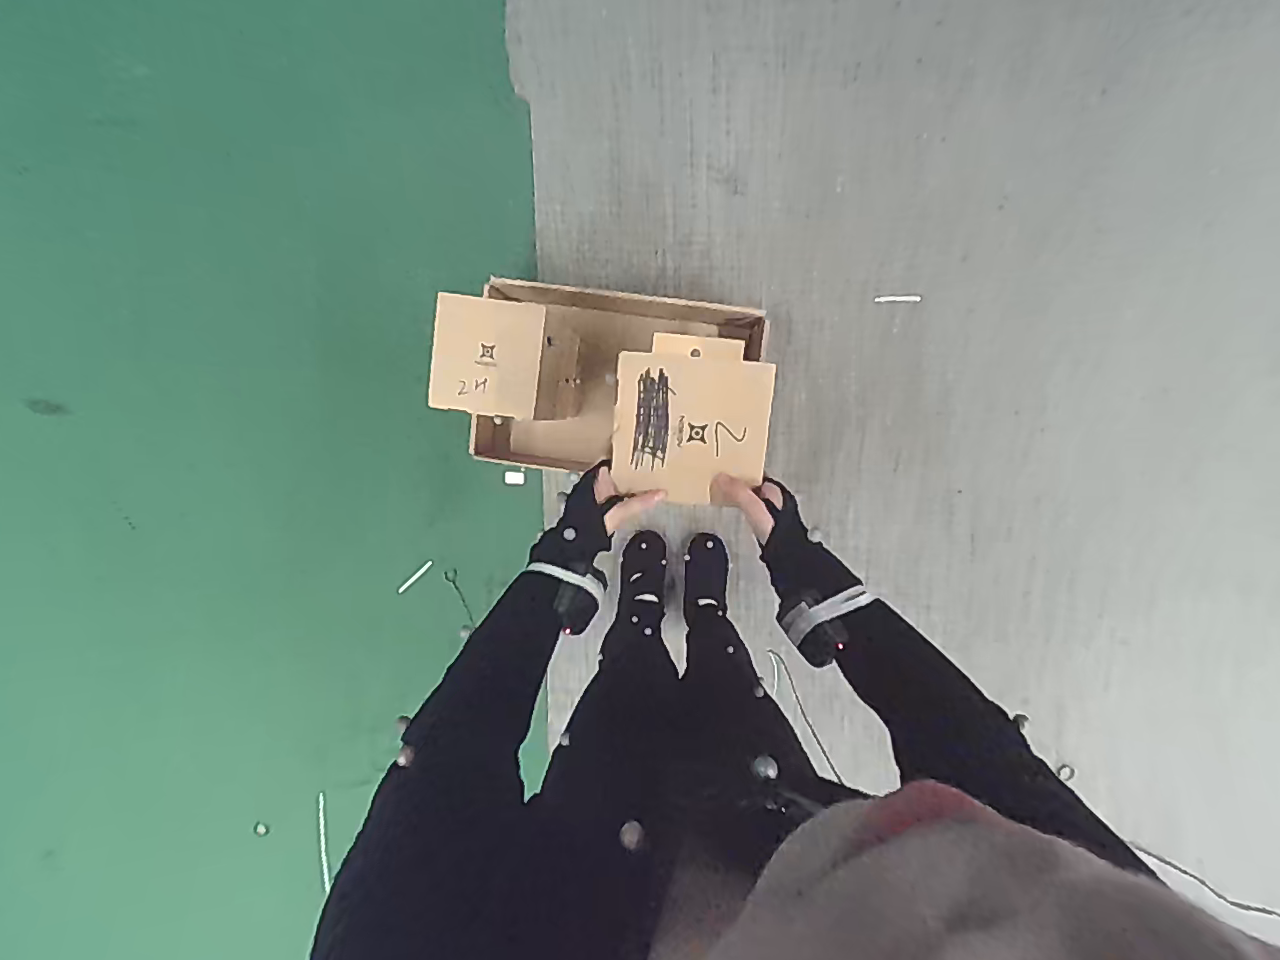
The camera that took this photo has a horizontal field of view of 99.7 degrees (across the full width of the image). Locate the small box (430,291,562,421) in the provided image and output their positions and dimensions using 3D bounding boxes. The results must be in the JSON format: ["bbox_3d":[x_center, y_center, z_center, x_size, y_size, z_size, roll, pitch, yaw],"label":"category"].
[{"bbox_3d":[-0.229,-0.196,0.902,0.168,0.176,0.179,8,97,0],"label":"small box"}]

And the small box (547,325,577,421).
[{"bbox_3d":[-0.222,-0.217,1.065,0.168,0.176,0.179,10,98,-1],"label":"small box"}]

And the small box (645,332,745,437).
[{"bbox_3d":[0.101,-0.182,1.058,0.168,0.176,0.179,6,98,1],"label":"small box"}]
